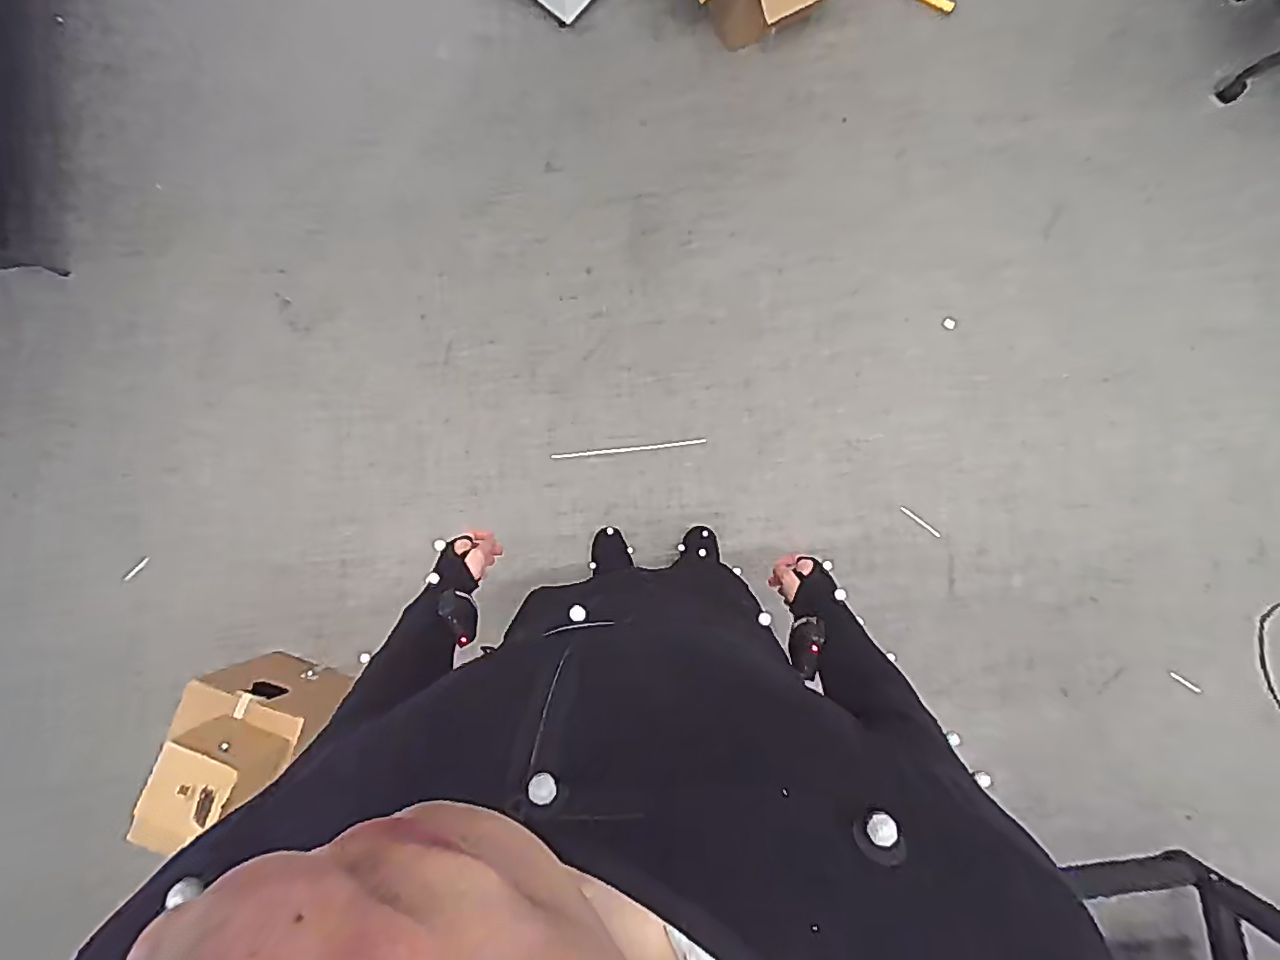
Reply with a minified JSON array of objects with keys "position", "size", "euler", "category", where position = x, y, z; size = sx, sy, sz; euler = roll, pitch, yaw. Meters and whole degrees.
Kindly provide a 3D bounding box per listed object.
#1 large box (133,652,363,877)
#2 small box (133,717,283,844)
[{"position":[-1.025,0.735,1.465],"size":[0.320,0.320,0.408],"euler":[18,86,2],"category":"large box"},{"position":[-0.962,0.666,1.223],"size":[0.179,0.176,0.168],"euler":[22,85,1],"category":"small box"}]
